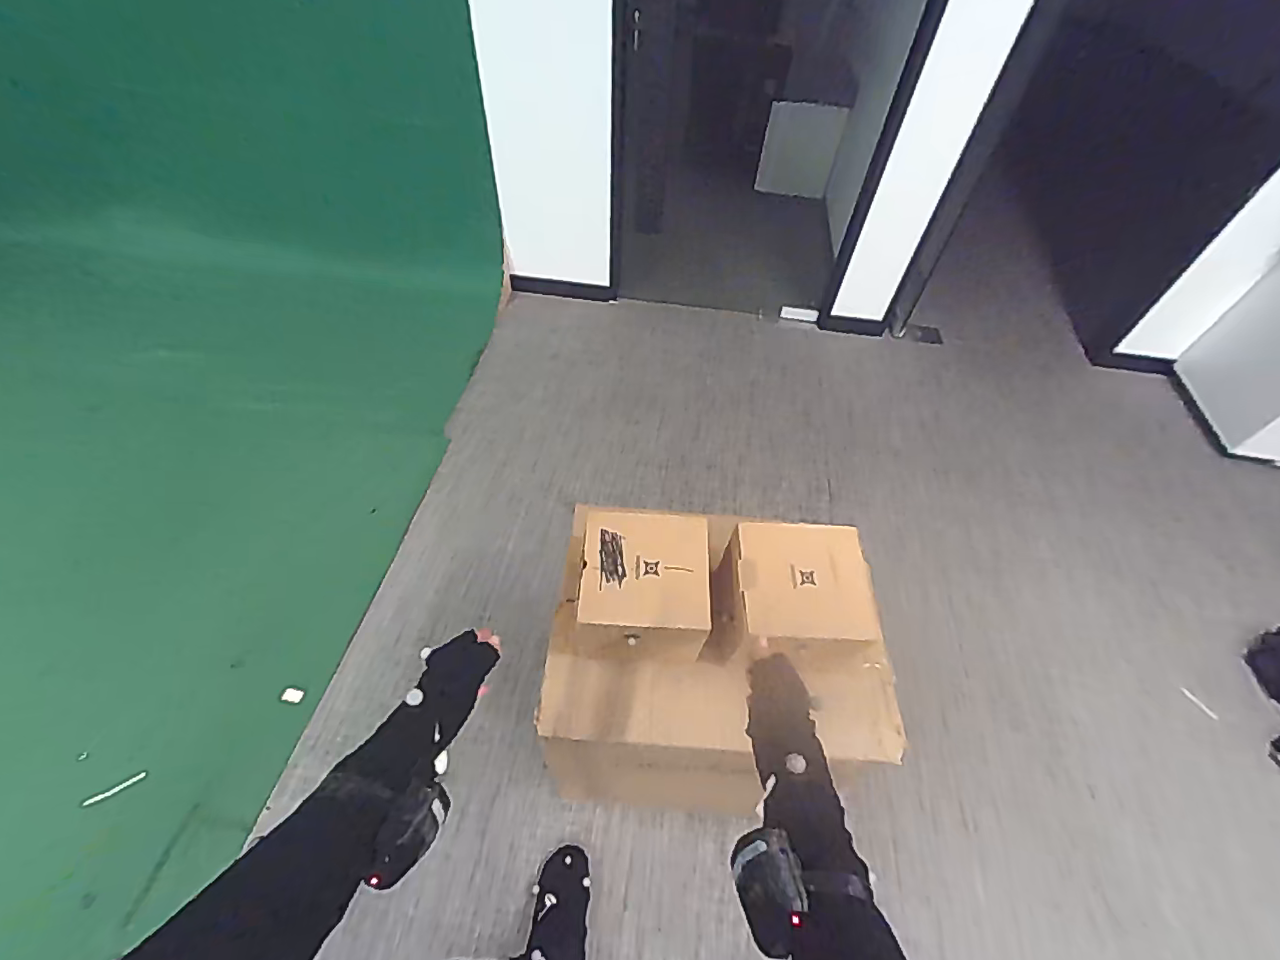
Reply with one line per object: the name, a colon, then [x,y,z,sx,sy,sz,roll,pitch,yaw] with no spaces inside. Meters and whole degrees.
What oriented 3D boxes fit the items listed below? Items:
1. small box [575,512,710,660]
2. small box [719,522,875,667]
small box: [0.003,0.162,0.801,0.179,0.176,0.168,4,58,-2]
small box: [0.217,0.176,0.807,0.179,0.176,0.168,3,58,-3]
